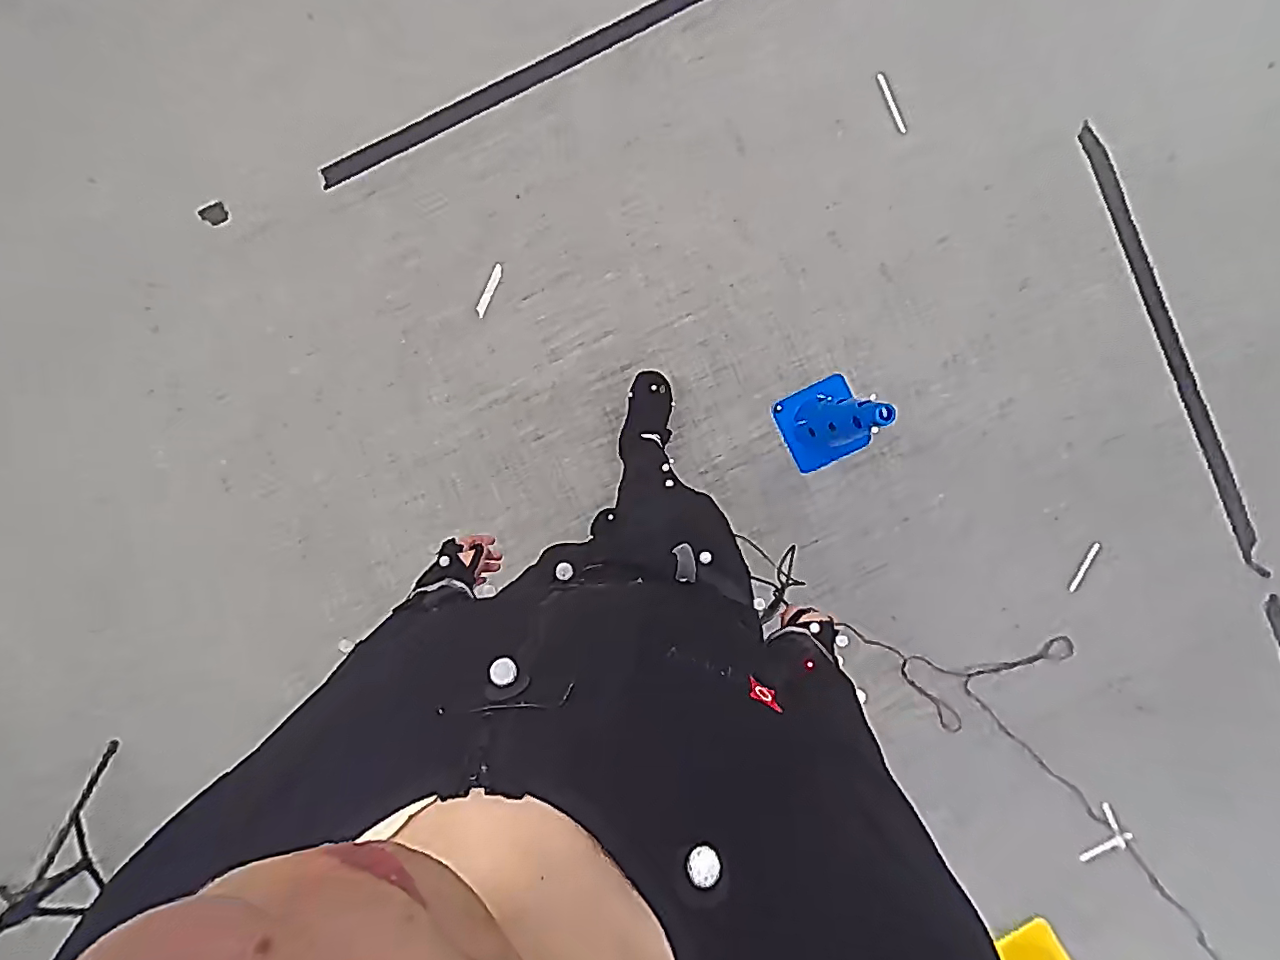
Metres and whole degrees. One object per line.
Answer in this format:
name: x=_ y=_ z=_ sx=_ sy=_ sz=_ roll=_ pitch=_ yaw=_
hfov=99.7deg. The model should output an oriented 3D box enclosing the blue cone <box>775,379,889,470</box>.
blue cone: x=0.450 y=-0.128 z=1.175 sx=0.192 sy=0.380 sz=0.193 roll=-25 pitch=93 yaw=2
